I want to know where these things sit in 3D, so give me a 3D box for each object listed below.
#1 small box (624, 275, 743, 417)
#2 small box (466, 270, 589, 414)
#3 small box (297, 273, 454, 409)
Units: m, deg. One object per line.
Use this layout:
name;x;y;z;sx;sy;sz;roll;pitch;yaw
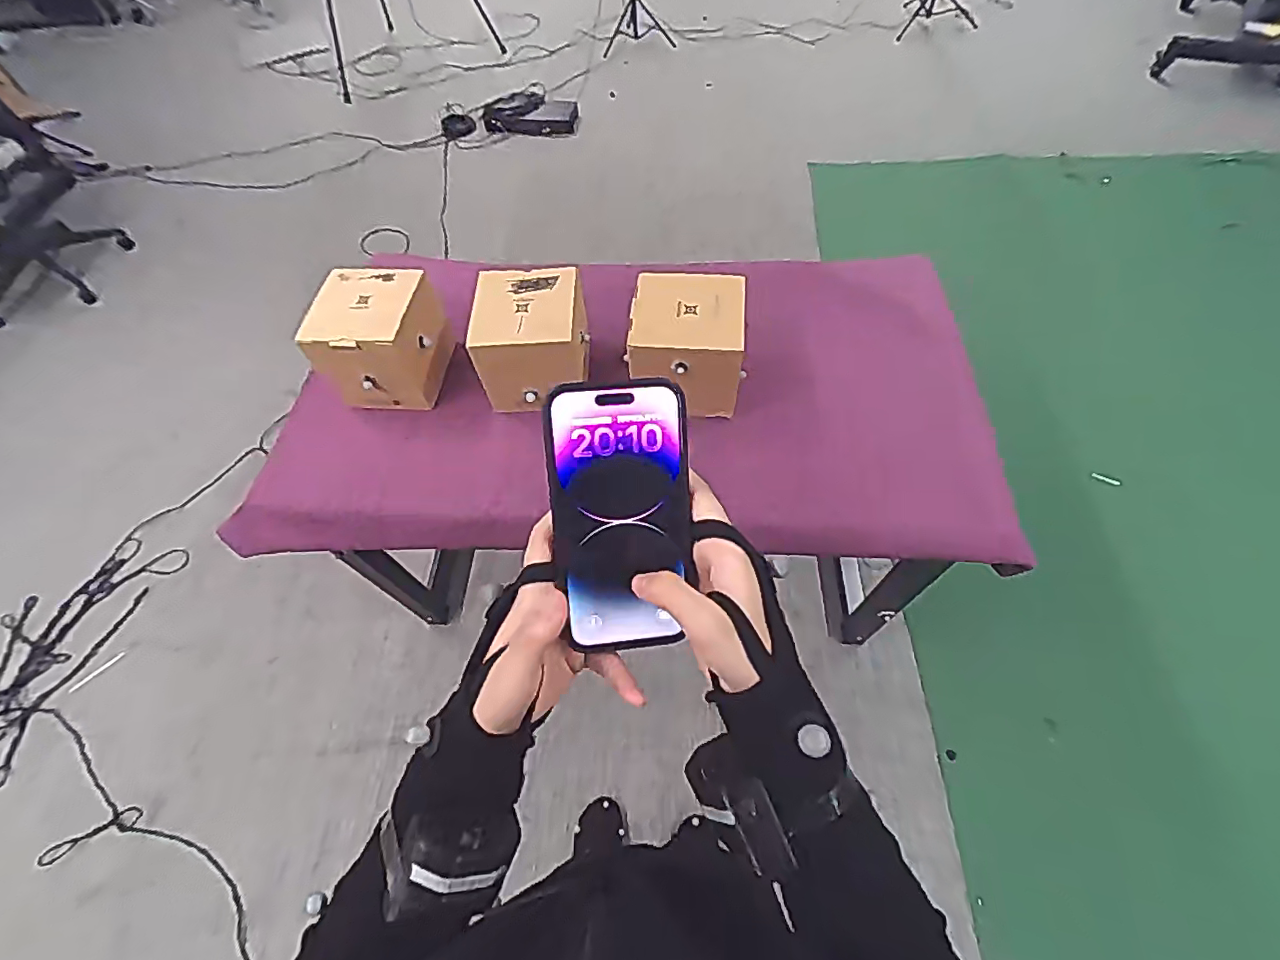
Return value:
small box;0.076;-0.221;0.909;0.179;0.176;0.168;4;60;6
small box;-0.182;-0.235;0.934;0.168;0.176;0.179;-2;59;2
small box;-0.450;-0.240;0.954;0.168;0.176;0.179;2;59;5
